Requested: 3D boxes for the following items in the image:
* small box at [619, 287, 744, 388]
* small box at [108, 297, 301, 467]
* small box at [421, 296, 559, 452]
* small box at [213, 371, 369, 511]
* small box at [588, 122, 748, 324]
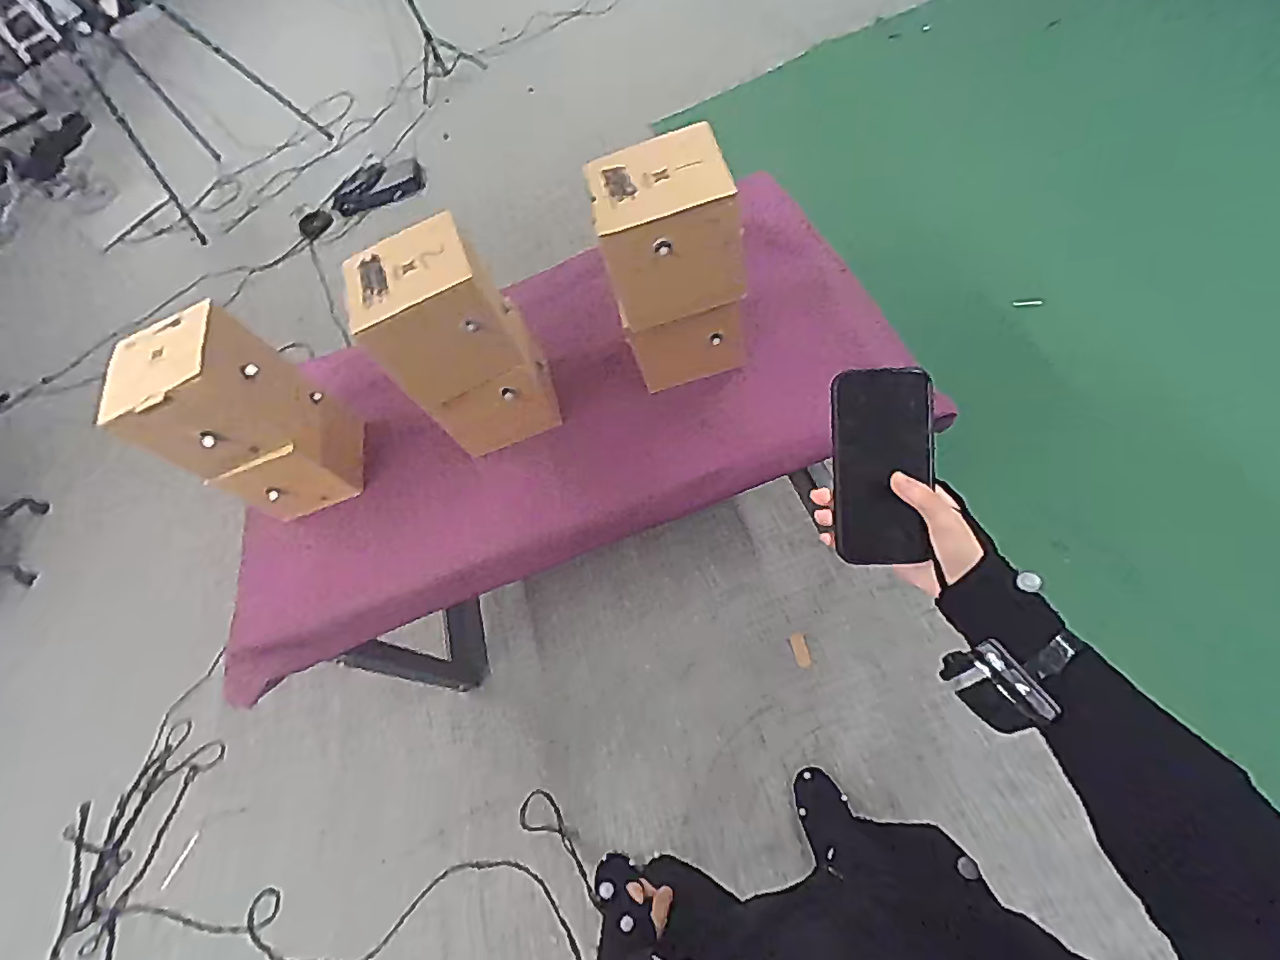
[{"bbox_3d":[0.071,-0.282,0.902,0.179,0.176,0.168,-15,59,9],"label":"small box"},{"bbox_3d":[-0.665,-0.141,0.849,0.168,0.176,0.179,-24,60,2],"label":"small box"},{"bbox_3d":[-0.251,-0.177,0.938,0.179,0.176,0.168,-20,59,5],"label":"small box"},{"bbox_3d":[-0.621,-0.060,0.985,0.168,0.176,0.179,-20,59,5],"label":"small box"},{"bbox_3d":[0.042,-0.347,0.754,0.179,0.176,0.168,-15,59,8],"label":"small box"}]
